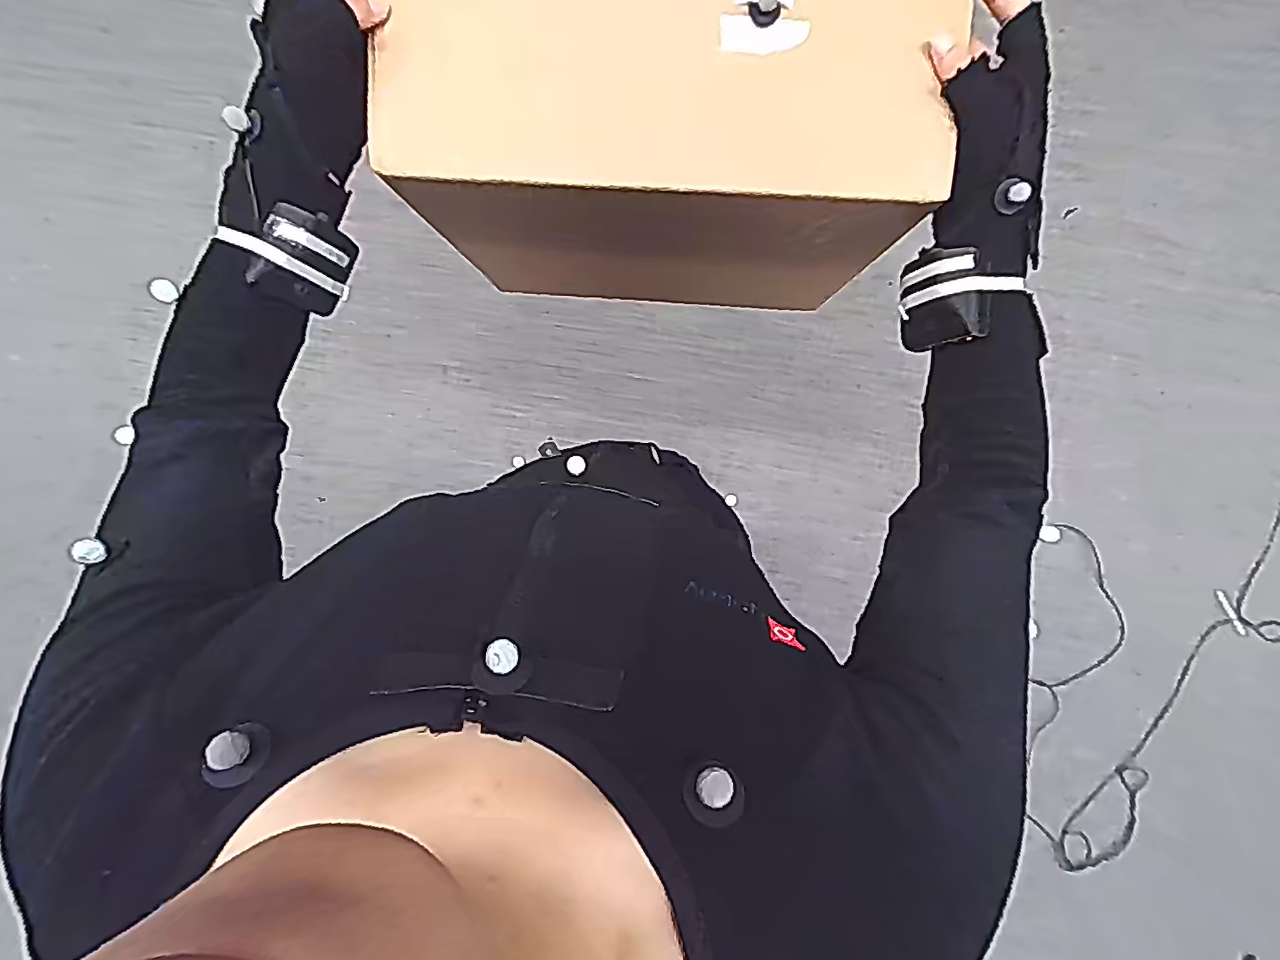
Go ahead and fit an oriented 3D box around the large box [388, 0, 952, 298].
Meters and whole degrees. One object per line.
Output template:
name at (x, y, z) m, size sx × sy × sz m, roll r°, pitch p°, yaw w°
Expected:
large box at (0.023, -0.377, 0.527) m, size 0.408 × 0.320 × 0.320 m, roll 3°, pitch 95°, yaw 1°
